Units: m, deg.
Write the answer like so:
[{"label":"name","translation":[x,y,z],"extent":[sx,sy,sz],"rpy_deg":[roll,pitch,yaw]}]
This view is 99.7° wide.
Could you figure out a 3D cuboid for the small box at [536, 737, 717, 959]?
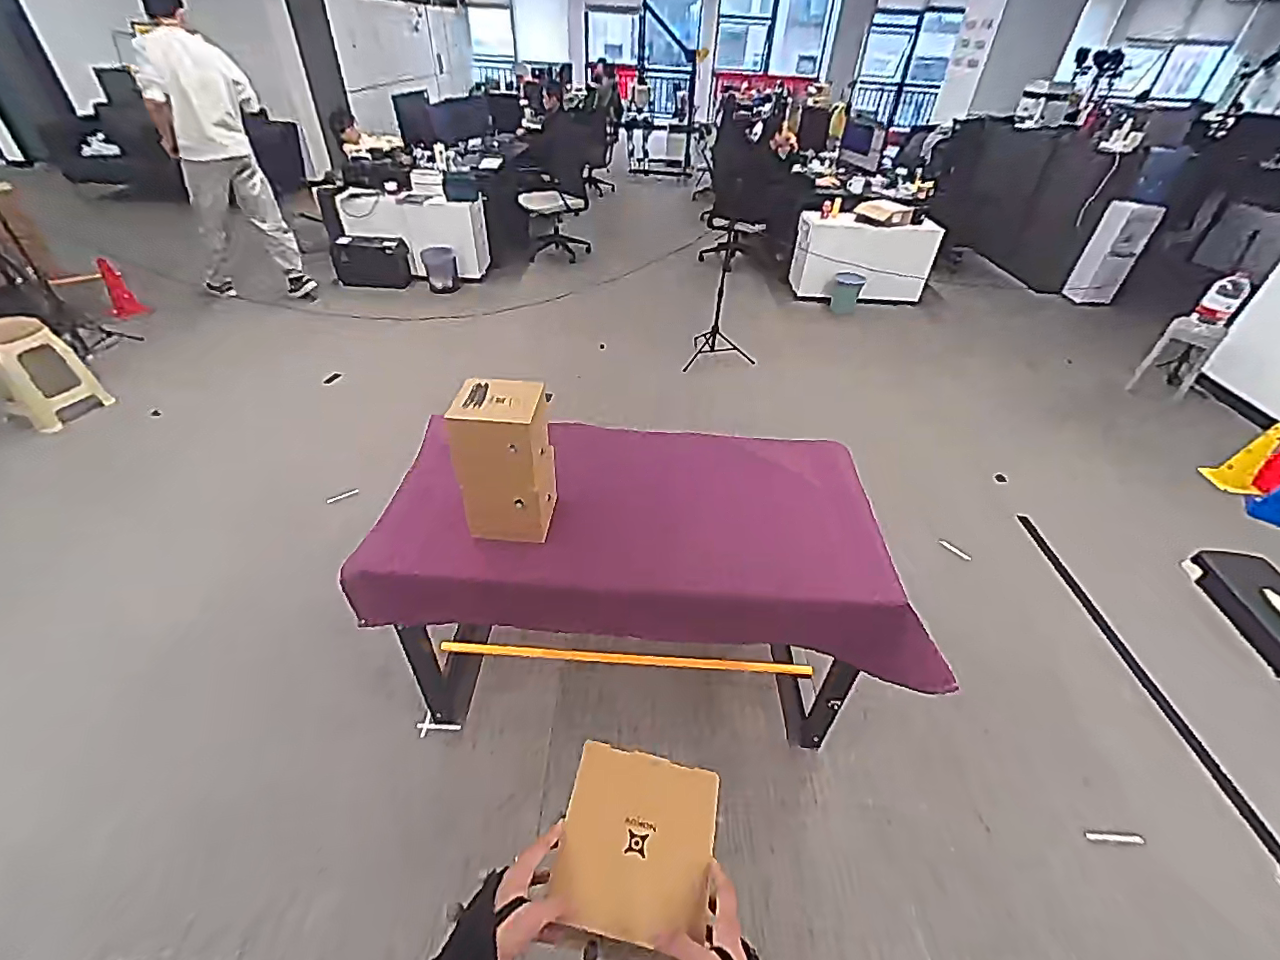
[{"label":"small box","translation":[-0.014,0.440,0.633],"extent":[0.168,0.176,0.179],"rpy_deg":[13,41,4]}]

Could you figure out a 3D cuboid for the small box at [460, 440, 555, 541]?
[{"label":"small box","translation":[-0.300,0.027,1.273],"extent":[0.179,0.176,0.168],"rpy_deg":[5,39,1]}]
